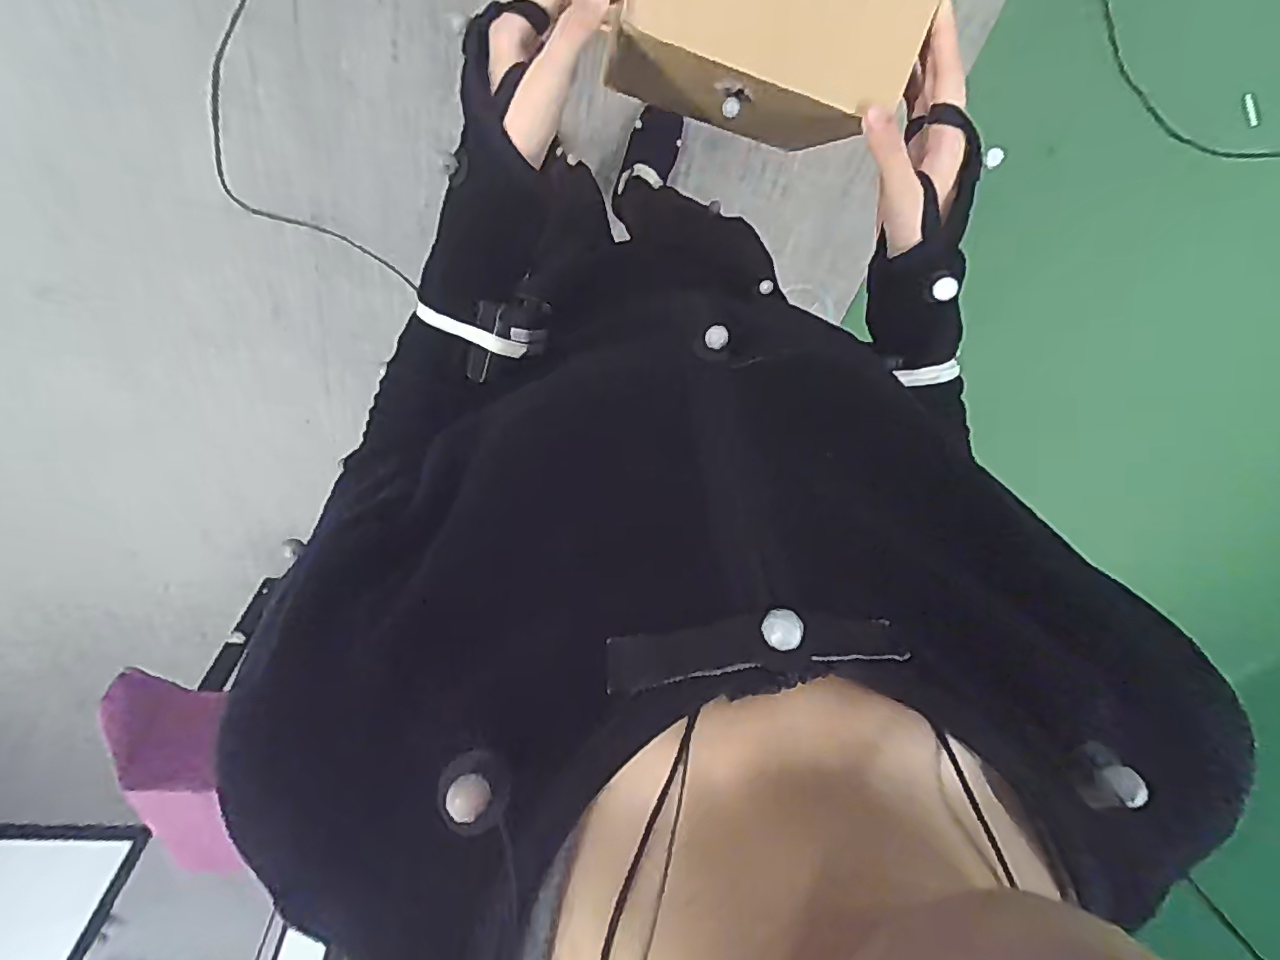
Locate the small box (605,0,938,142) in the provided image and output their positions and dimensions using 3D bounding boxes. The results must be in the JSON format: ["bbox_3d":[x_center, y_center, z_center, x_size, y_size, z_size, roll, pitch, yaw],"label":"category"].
[{"bbox_3d":[0.082,-0.341,0.349,0.179,0.176,0.168,11,114,-14],"label":"small box"}]
